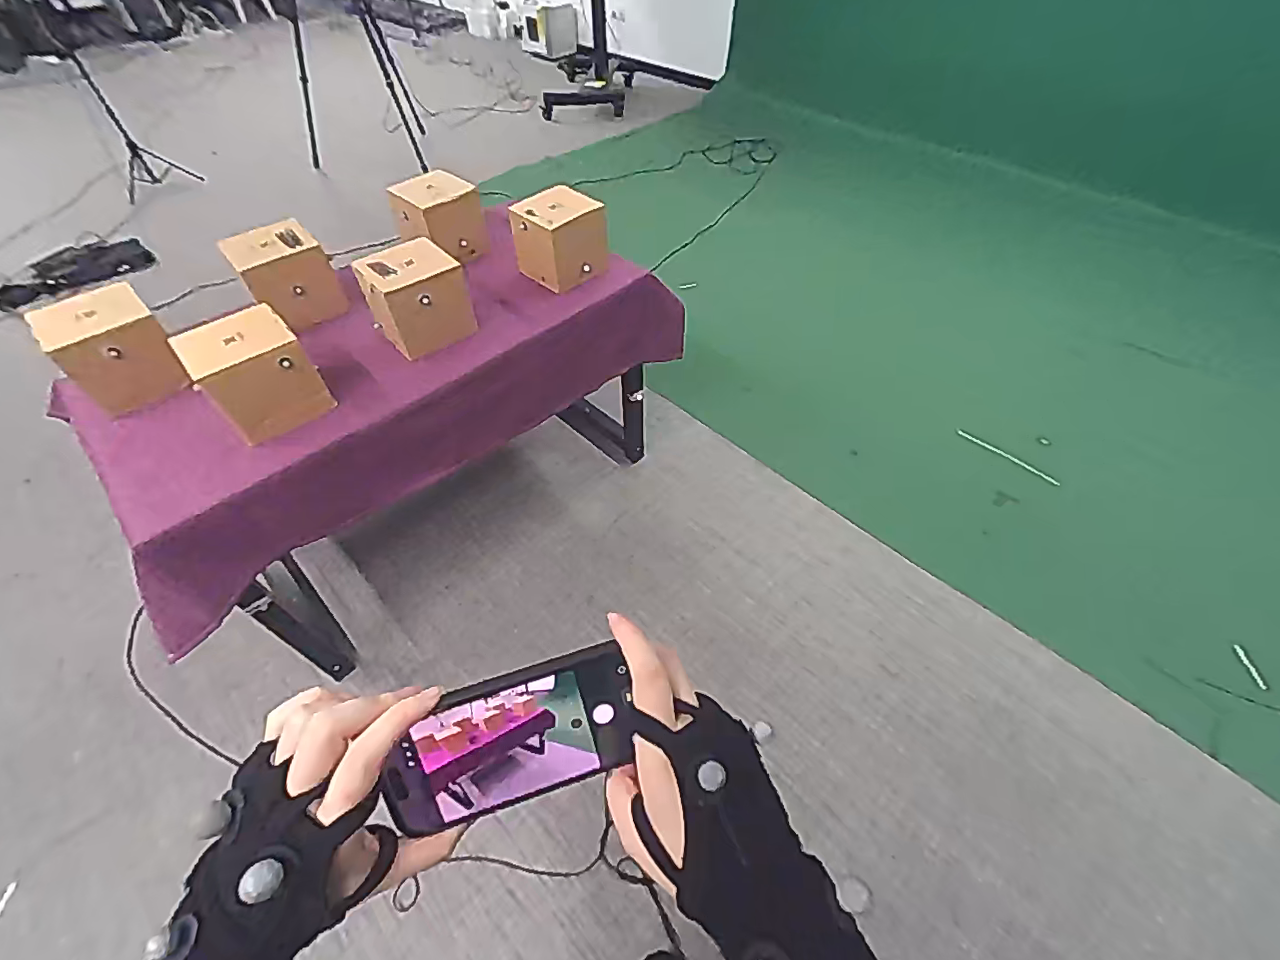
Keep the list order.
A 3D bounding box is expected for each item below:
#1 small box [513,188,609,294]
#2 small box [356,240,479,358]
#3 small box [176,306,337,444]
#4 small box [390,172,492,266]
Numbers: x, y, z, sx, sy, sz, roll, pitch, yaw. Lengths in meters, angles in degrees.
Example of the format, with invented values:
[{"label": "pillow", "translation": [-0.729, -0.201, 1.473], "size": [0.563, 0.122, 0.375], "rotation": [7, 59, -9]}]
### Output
[{"label": "small box", "translation": [-0.193, -0.602, 1.365], "size": [0.168, 0.176, 0.179], "rotation": [37, 60, 27]}, {"label": "small box", "translation": [-0.488, -0.401, 1.205], "size": [0.179, 0.176, 0.168], "rotation": [-34, 58, -25]}, {"label": "small box", "translation": [-0.730, -0.201, 1.045], "size": [0.179, 0.176, 0.168], "rotation": [-35, 58, -26]}, {"label": "small box", "translation": [-0.522, -0.684, 1.434], "size": [0.179, 0.176, 0.168], "rotation": [36, 60, 26]}]
